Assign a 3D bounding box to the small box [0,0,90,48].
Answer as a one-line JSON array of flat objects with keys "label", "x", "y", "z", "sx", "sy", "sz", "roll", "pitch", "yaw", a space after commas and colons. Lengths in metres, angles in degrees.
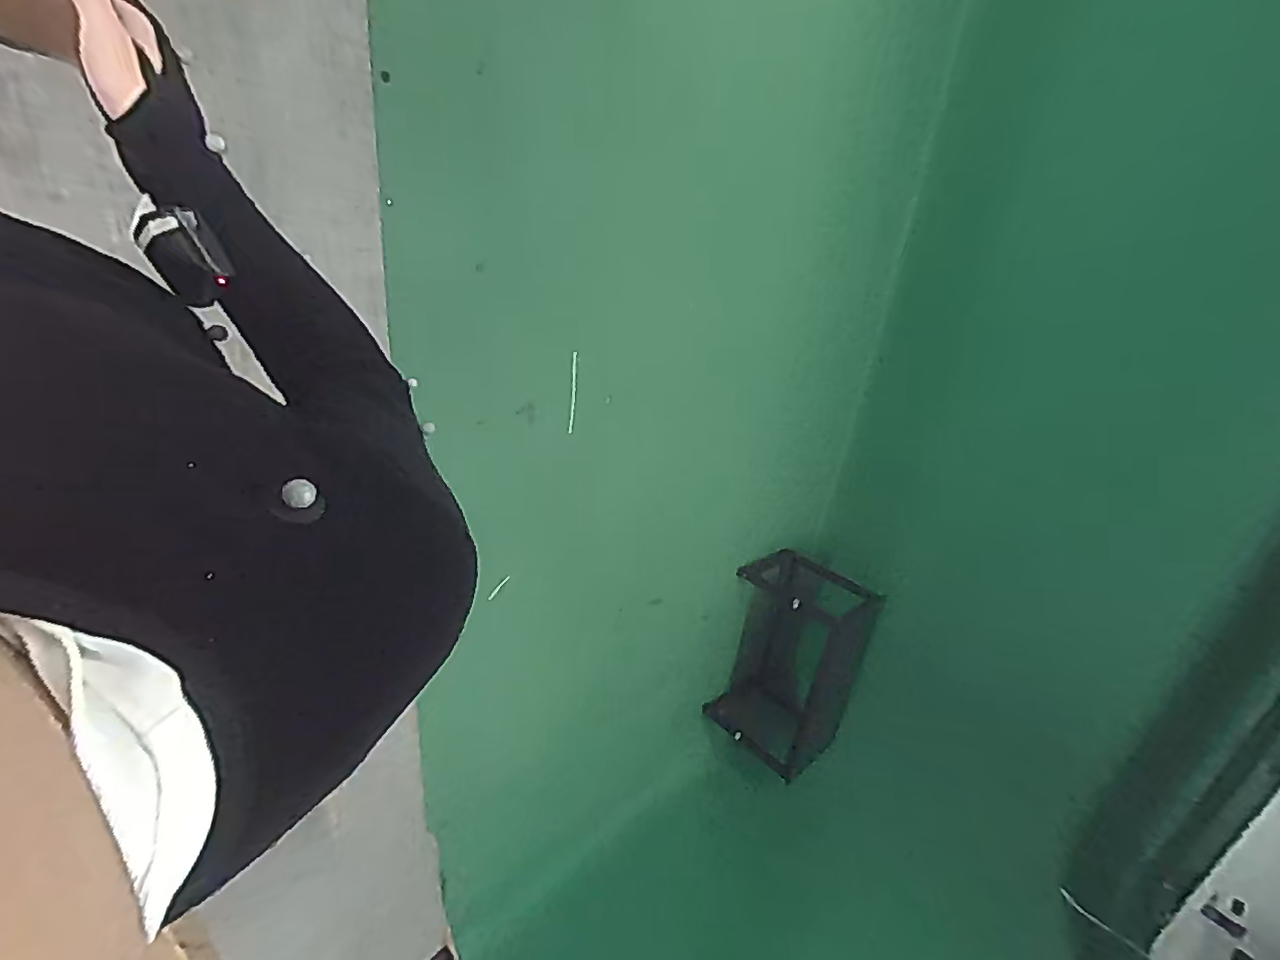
[{"label": "small box", "x": -0.495, "y": -0.444, "z": 0.357, "sx": 0.168, "sy": 0.176, "sz": 0.179, "roll": -10, "pitch": 107, "yaw": -42}]
